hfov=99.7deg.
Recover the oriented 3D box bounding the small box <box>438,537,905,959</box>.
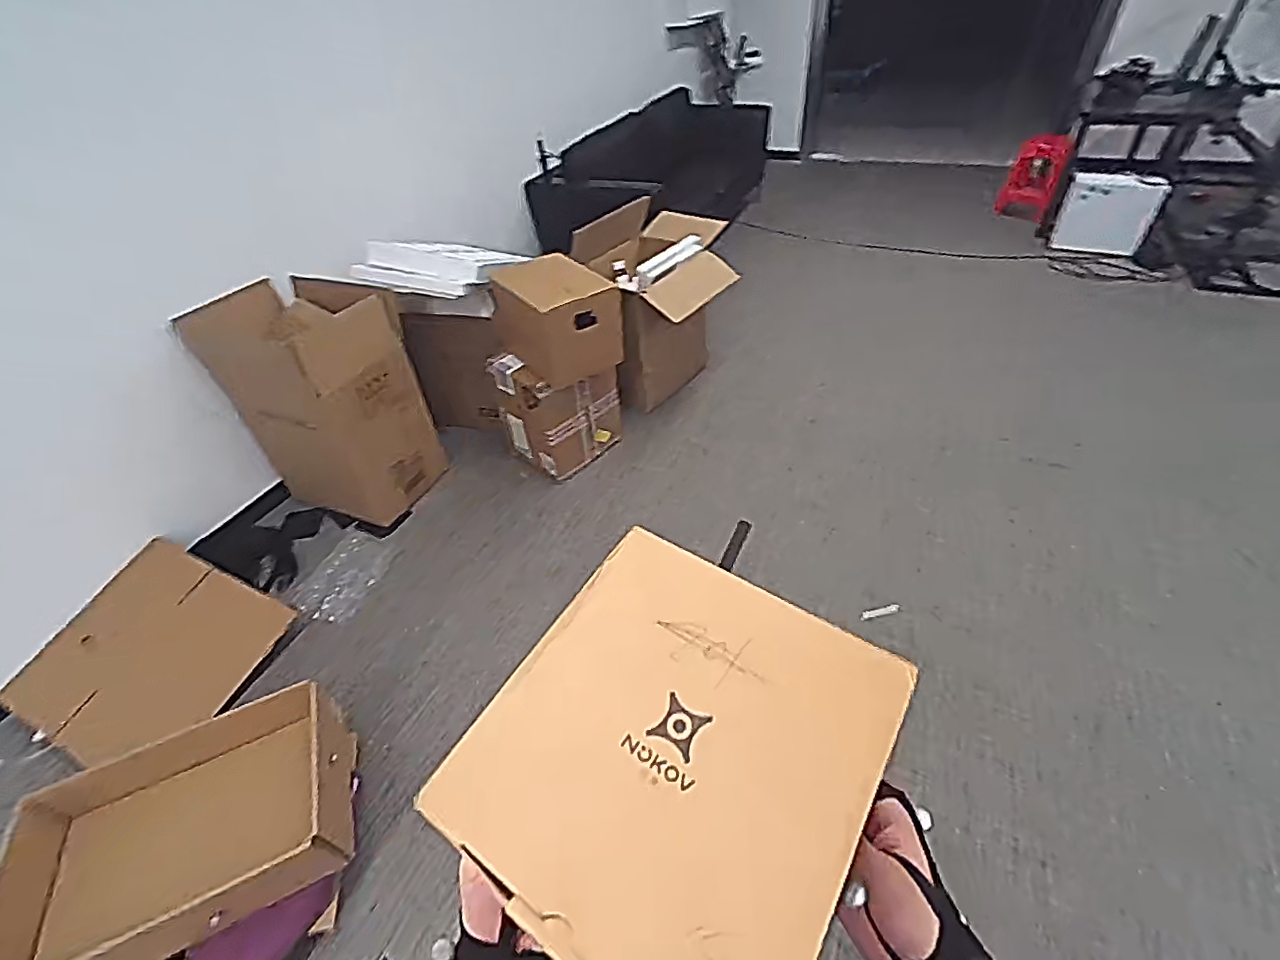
[{"bbox_3d":[0.026,0.173,0.317,0.168,0.176,0.179,24,55,24],"label":"small box"}]
